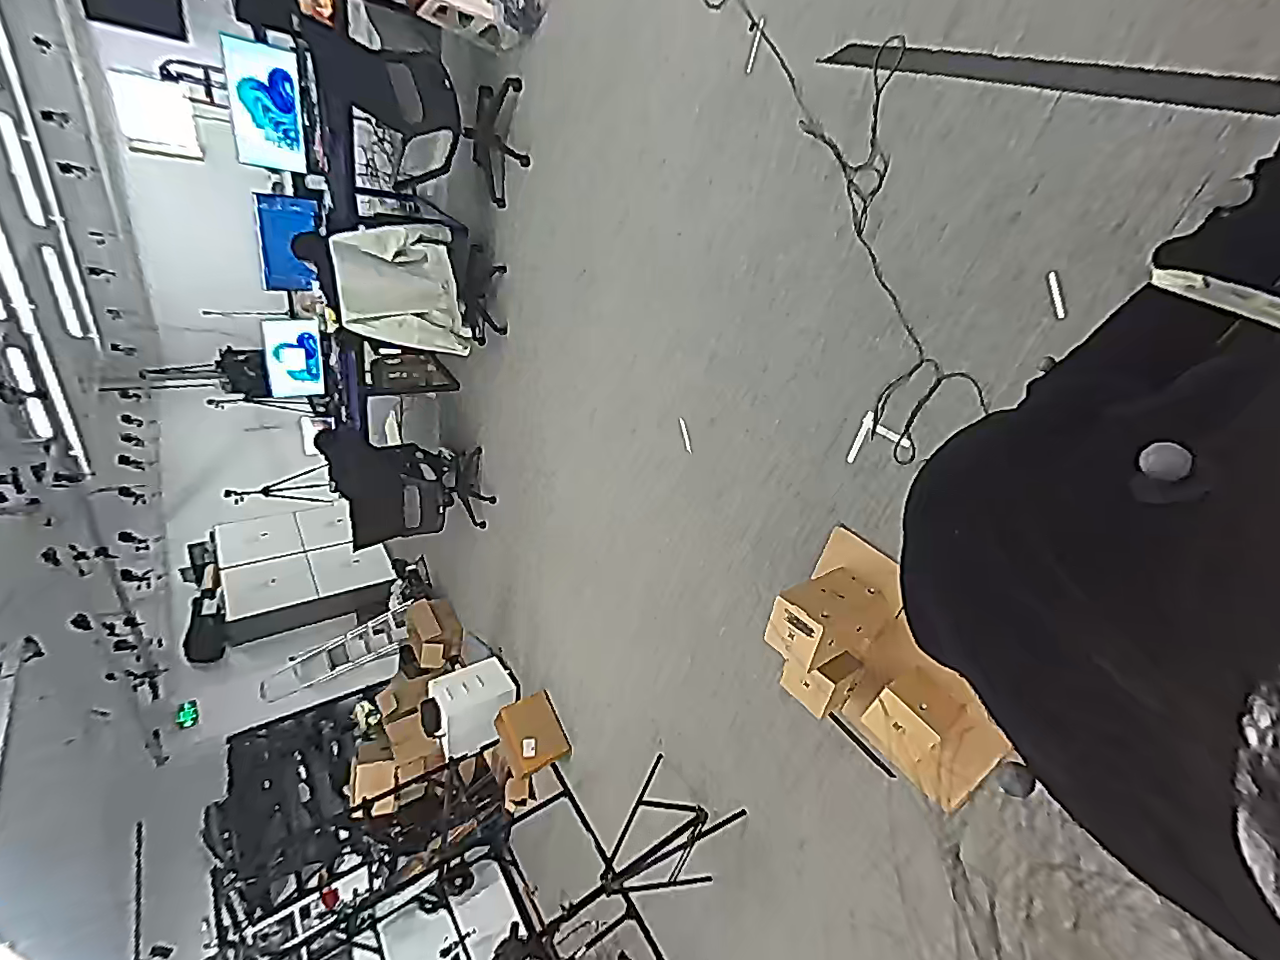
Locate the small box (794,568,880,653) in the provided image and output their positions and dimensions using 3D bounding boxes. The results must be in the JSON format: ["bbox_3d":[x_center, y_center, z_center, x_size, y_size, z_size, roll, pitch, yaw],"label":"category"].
[{"bbox_3d":[0.621,0.401,1.697,0.168,0.176,0.179,37,128,42],"label":"small box"}]

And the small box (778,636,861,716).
[{"bbox_3d":[0.597,0.639,1.801,0.179,0.176,0.168,36,128,41],"label":"small box"}]

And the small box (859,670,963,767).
[{"bbox_3d":[0.781,0.675,1.561,0.179,0.176,0.168,44,132,35],"label":"small box"}]
